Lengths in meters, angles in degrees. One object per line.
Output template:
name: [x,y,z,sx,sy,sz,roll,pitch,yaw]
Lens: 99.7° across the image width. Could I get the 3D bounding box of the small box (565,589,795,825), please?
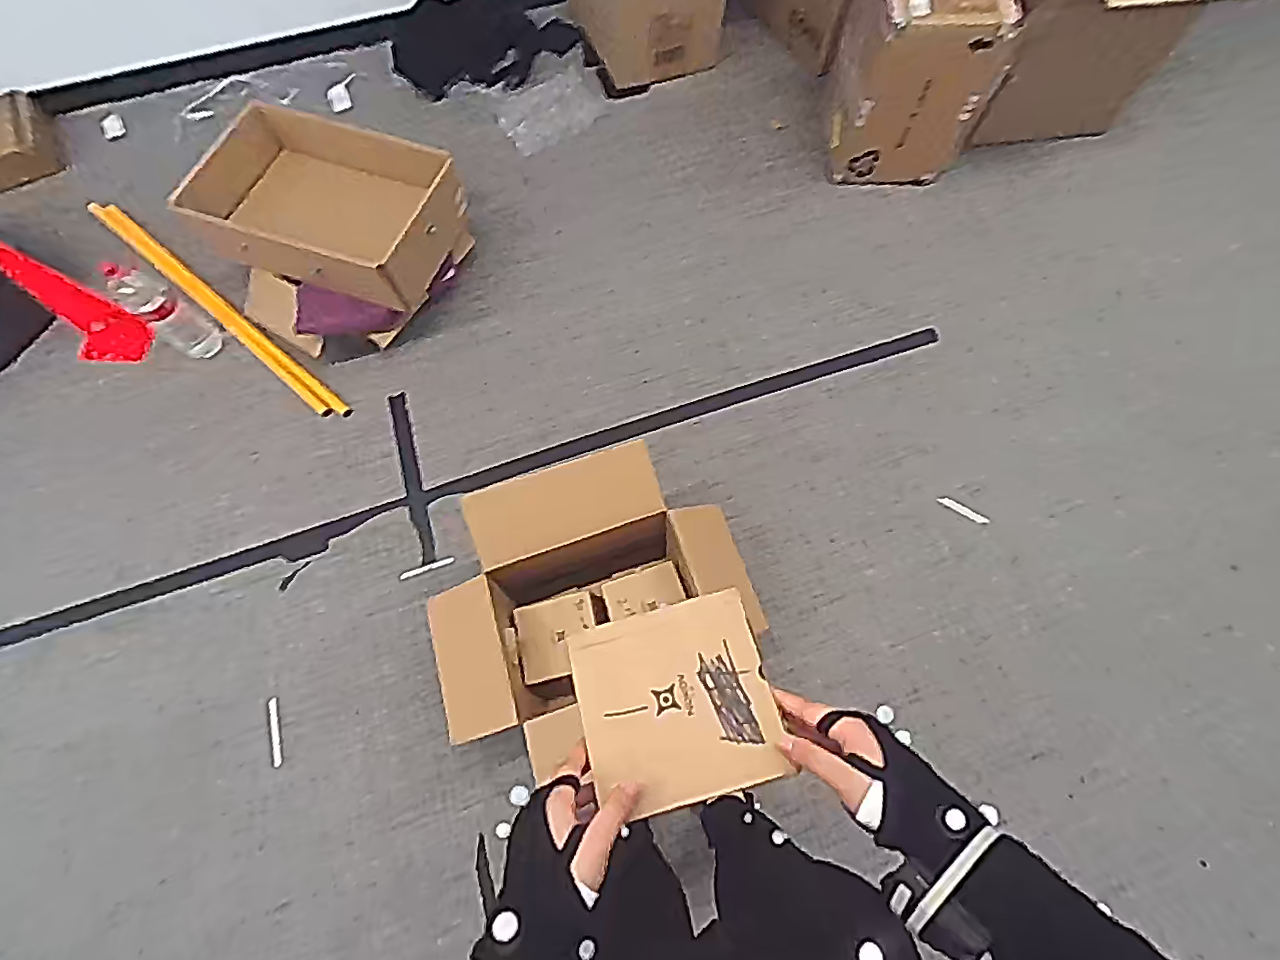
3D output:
small box: [0.037,0.230,0.562,0.179,0.176,0.168,-16,64,-1]
